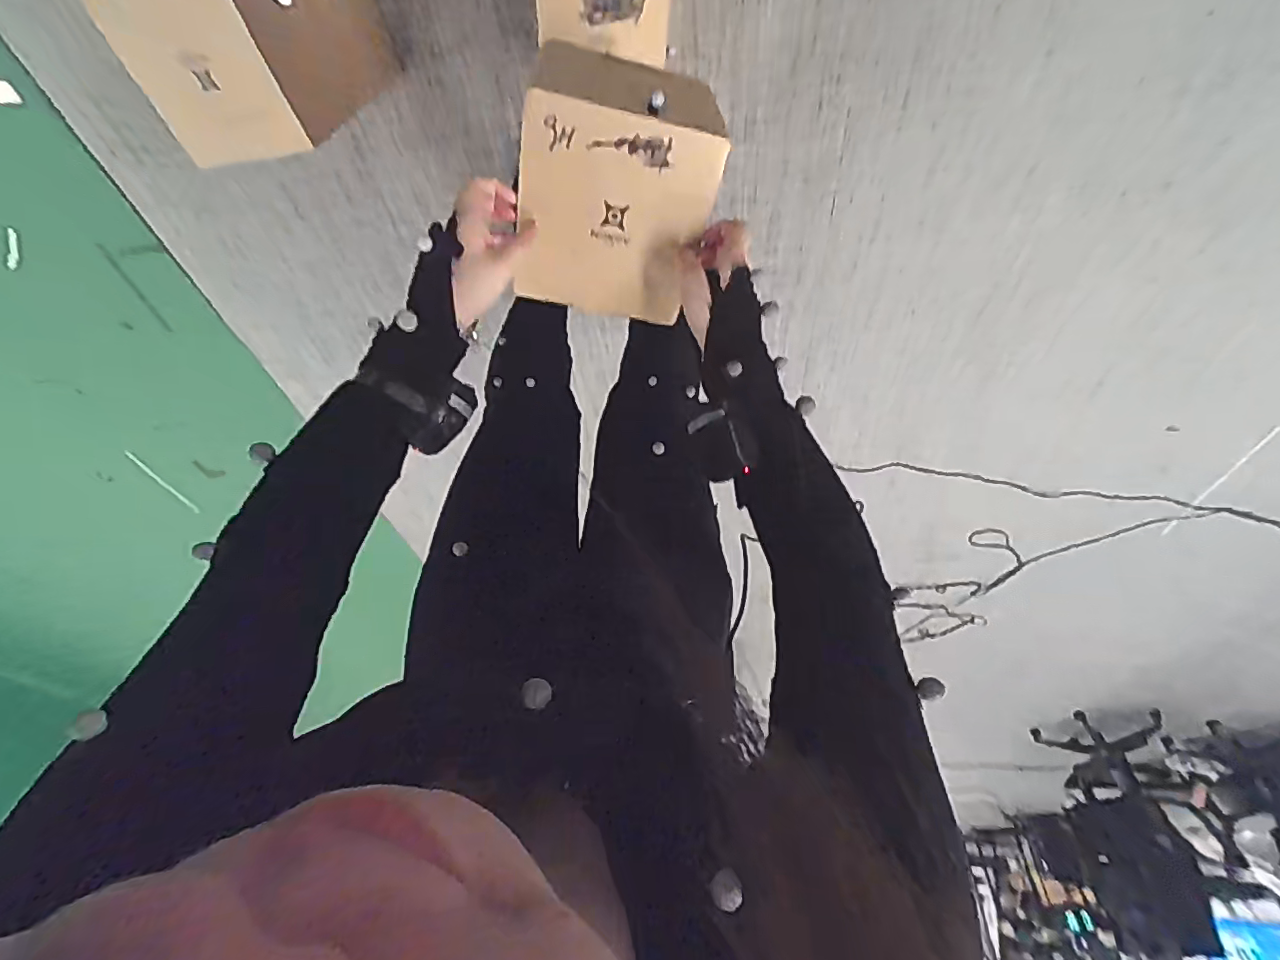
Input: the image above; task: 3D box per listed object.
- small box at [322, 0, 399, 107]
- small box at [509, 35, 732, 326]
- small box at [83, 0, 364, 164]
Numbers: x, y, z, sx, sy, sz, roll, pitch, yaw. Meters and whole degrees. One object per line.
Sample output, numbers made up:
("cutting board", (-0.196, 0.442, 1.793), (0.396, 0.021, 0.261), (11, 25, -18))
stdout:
("small box", (-0.470, -0.632, 0.751), (0.168, 0.176, 0.179), (-5, 140, 9))
("small box", (-0.025, -0.282, 0.518), (0.168, 0.176, 0.179), (8, 138, -11))
("small box", (-0.472, -0.511, 0.641), (0.168, 0.176, 0.179), (-3, 140, 10))
